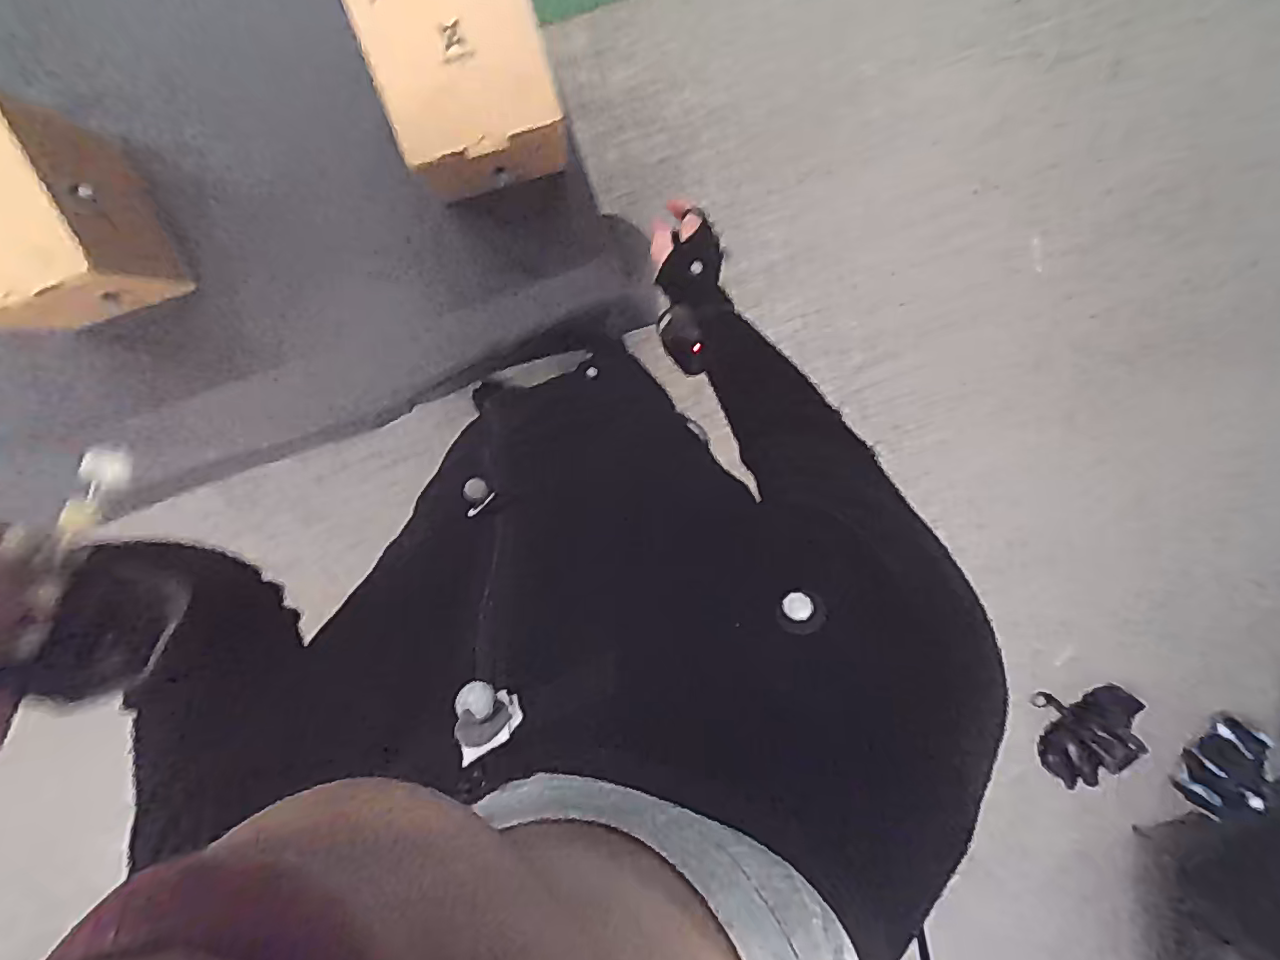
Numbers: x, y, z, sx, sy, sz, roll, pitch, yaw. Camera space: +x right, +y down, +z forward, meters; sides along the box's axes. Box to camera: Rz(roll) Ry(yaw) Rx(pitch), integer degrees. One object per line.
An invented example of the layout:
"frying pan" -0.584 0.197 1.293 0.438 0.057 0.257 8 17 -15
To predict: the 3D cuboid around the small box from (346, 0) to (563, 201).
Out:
"small box" -0.188 -0.432 0.606 0.168 0.176 0.179 -18 108 -2
